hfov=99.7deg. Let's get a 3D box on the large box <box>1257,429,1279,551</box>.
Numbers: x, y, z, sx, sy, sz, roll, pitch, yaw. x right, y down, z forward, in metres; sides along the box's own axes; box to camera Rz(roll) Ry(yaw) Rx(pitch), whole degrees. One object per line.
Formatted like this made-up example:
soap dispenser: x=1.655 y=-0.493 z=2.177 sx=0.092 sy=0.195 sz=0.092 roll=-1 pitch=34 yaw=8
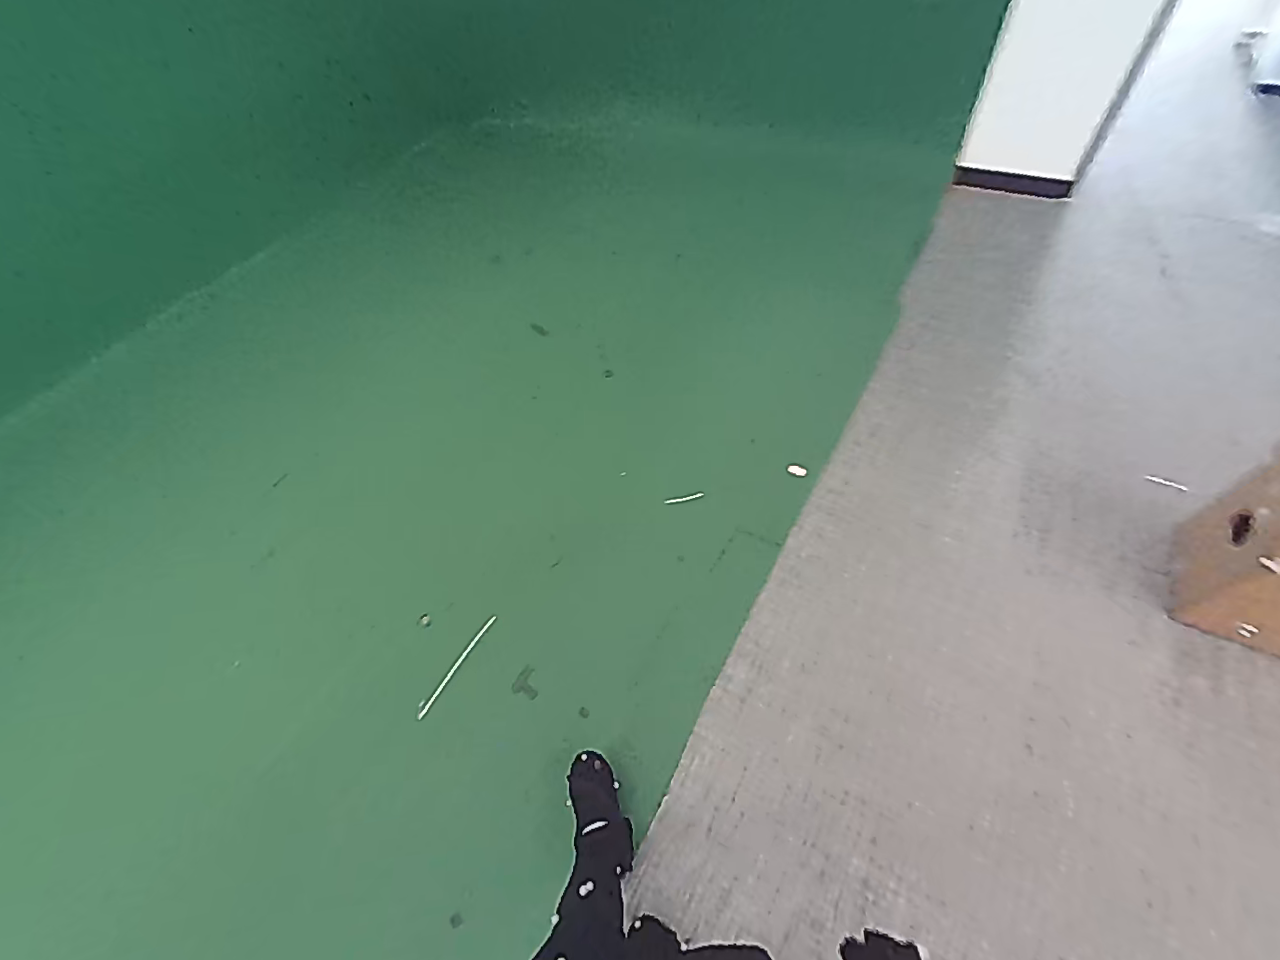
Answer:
large box: x=1.514 y=0.014 z=0.986 sx=0.408 sy=0.320 sz=0.320 roll=23 pitch=67 yaw=23
